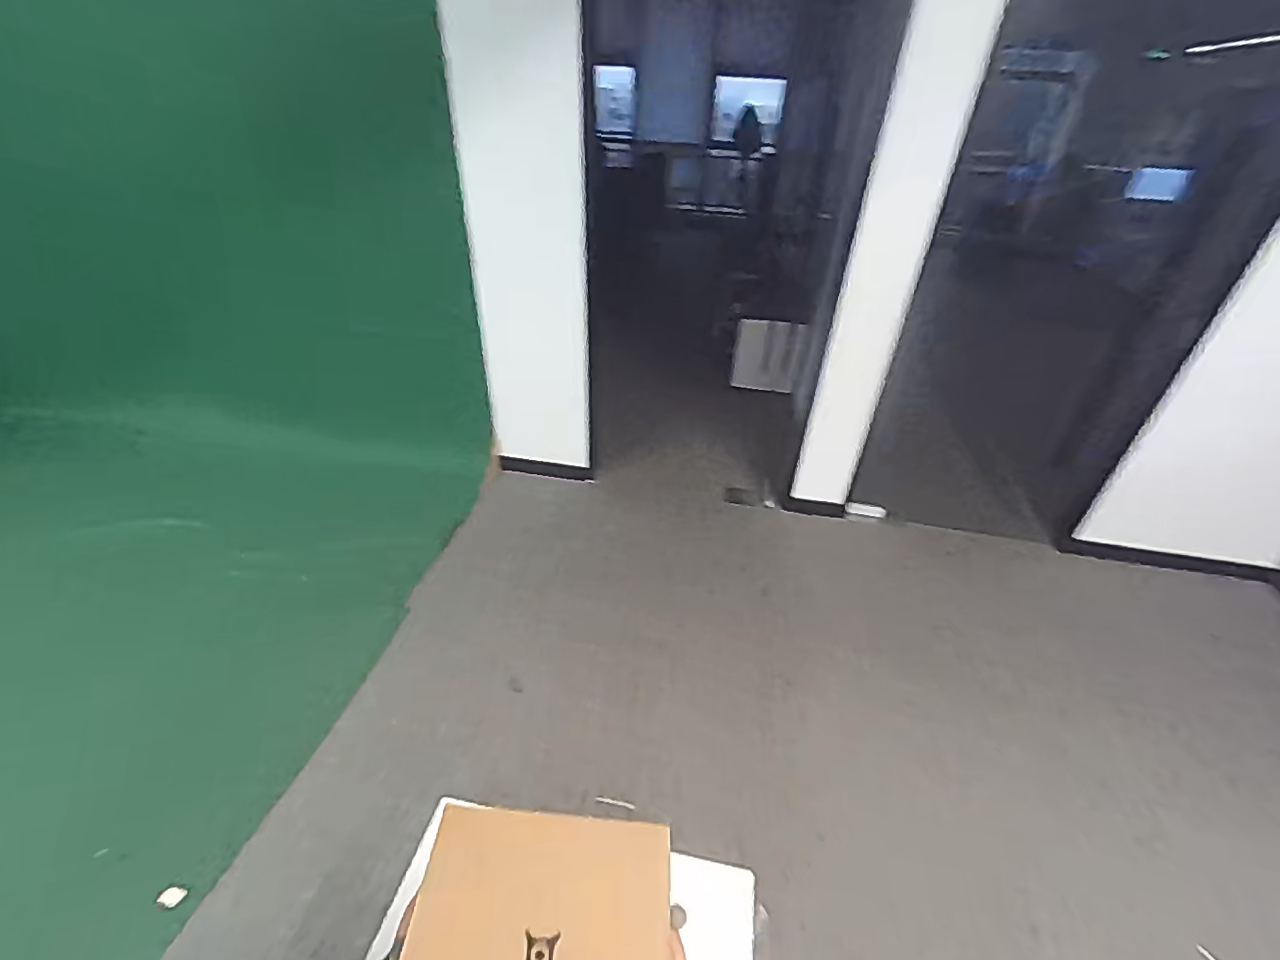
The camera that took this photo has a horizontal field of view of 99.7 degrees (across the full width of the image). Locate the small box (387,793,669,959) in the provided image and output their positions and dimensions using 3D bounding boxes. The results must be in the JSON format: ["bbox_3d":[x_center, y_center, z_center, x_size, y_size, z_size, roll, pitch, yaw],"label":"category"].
[{"bbox_3d":[-0.073,0.344,0.363,0.168,0.176,0.179,5,39,-1],"label":"small box"}]
